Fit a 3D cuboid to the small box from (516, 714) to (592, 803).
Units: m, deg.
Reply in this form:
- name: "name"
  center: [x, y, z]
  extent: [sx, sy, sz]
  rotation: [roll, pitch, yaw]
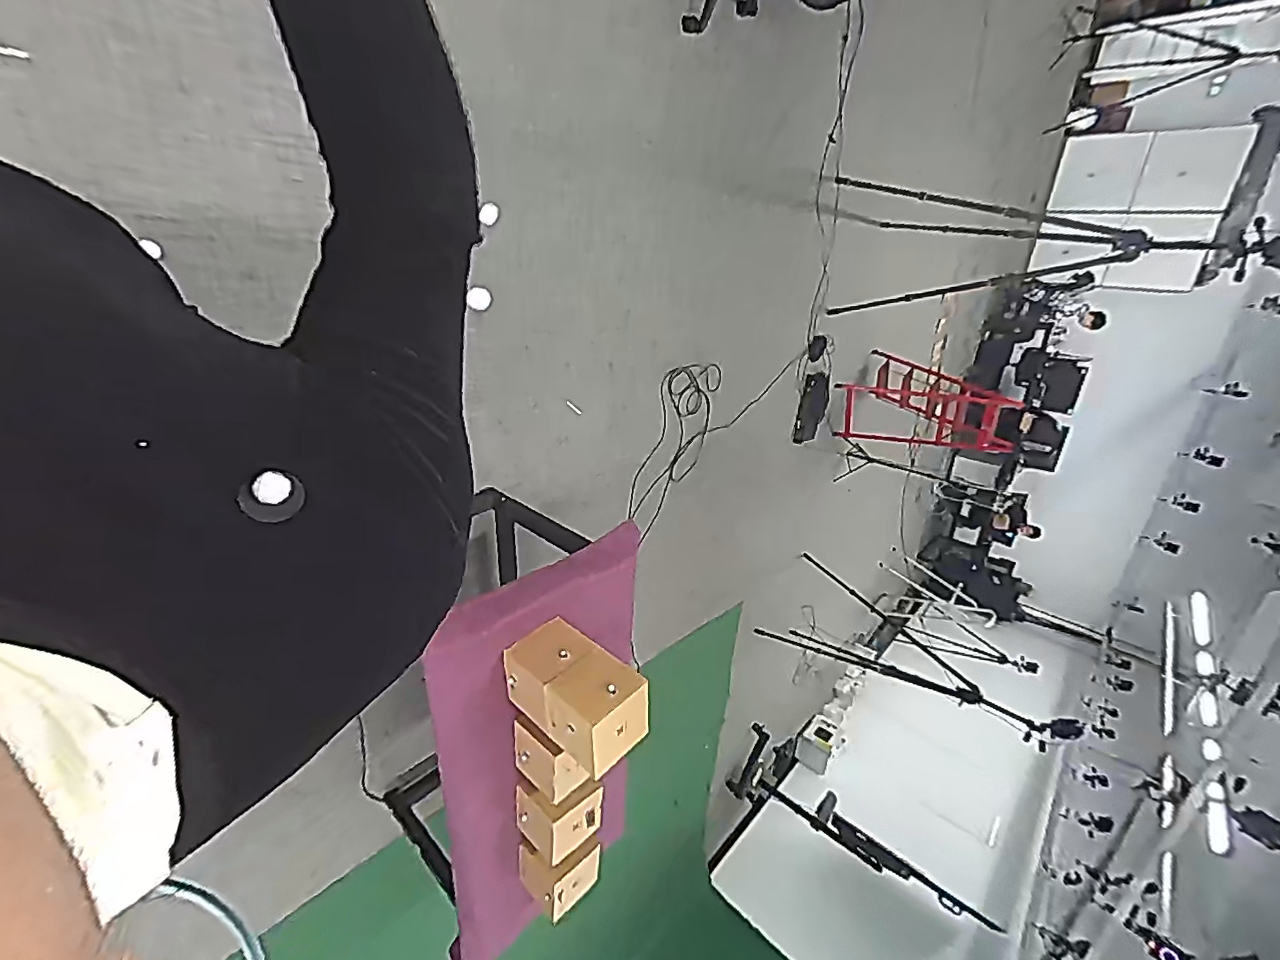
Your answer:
- name: "small box"
  center: [-0.212, 0.706, 1.453]
  extent: [0.179, 0.176, 0.168]
  rotation: [-19, 120, -44]

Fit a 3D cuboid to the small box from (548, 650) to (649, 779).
- name: "small box"
  center: [-0.098, 0.528, 1.242]
  extent: [0.179, 0.176, 0.168]
  rotation: [-25, 124, -42]

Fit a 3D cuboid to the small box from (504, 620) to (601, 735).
- name: "small box"
  center: [-0.214, 0.480, 1.345]
  extent: [0.179, 0.176, 0.168]
  rotation: [-25, 124, -41]

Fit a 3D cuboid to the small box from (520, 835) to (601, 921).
- name: "small box"
  center: [-0.241, 1.151, 1.630]
  extent: [0.179, 0.176, 0.168]
  rotation: [-18, 119, -45]

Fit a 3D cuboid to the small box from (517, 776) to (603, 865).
- name: "small box"
  center: [-0.229, 0.924, 1.538]
  extent: [0.179, 0.176, 0.168]
  rotation: [-16, 119, -44]
